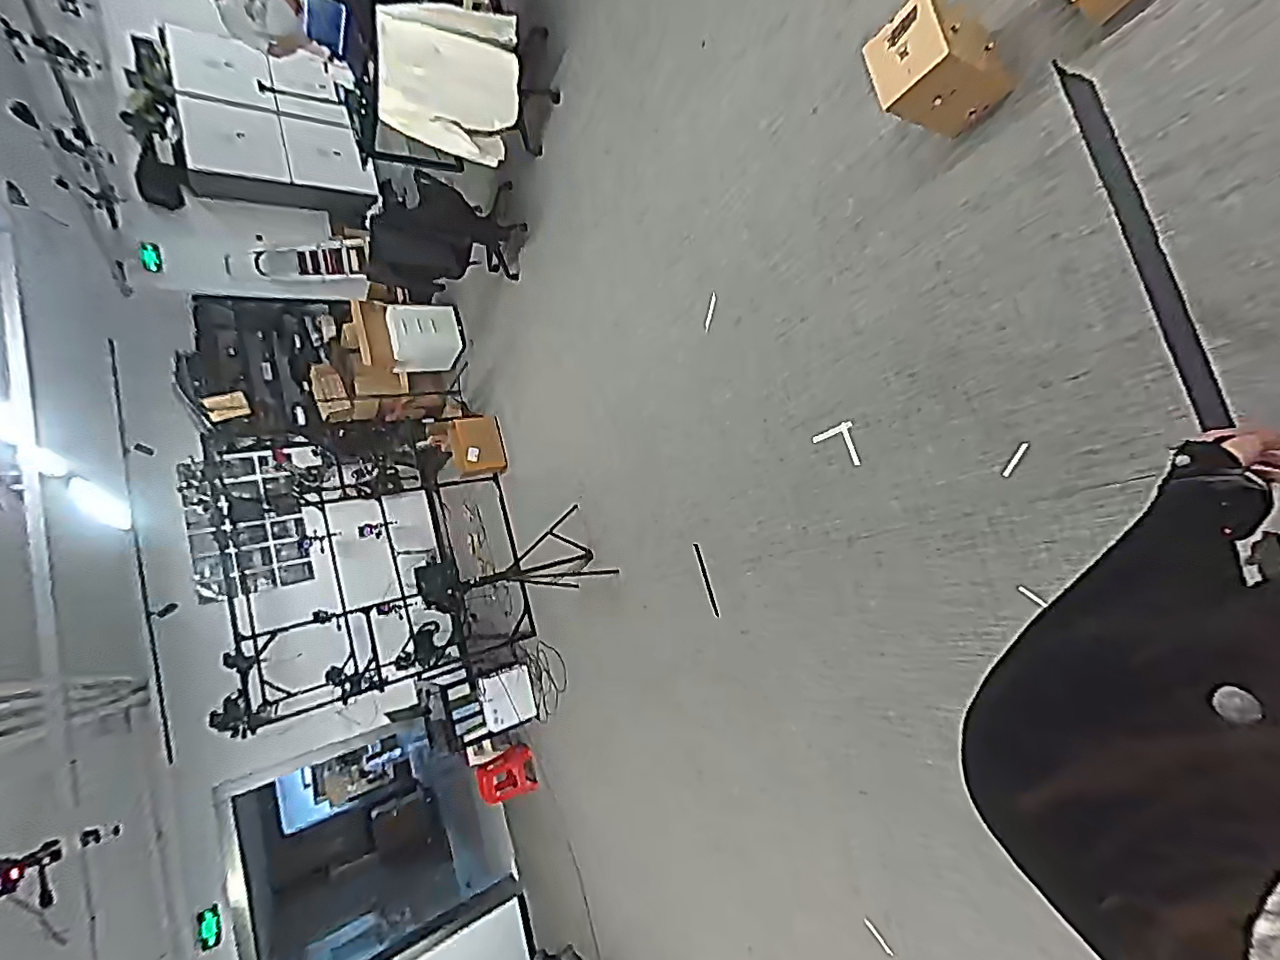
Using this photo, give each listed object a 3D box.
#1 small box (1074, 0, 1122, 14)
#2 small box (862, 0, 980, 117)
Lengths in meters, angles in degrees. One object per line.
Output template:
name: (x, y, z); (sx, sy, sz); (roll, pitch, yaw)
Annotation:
small box: (0.979, -1.113, 1.110); (0.168, 0.176, 0.179); (-29, 74, 54)
small box: (0.670, -1.011, 1.287); (0.168, 0.176, 0.179); (-23, 81, 56)
